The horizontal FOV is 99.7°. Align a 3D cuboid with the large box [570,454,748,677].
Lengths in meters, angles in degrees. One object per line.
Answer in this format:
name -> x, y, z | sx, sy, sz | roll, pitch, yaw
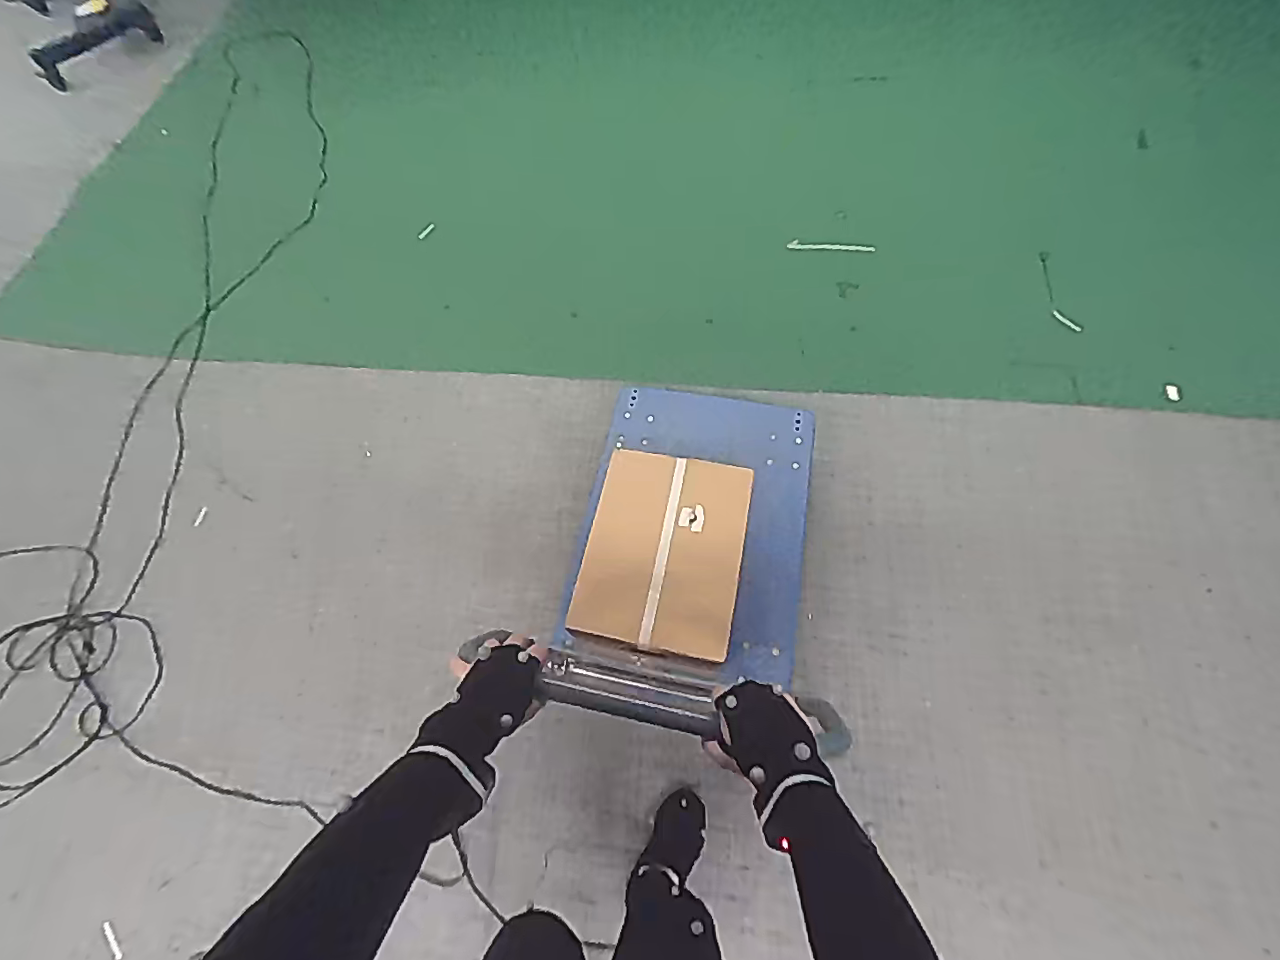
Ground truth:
large box -> 0.060, 0.205, 1.250 | 0.320, 0.320, 0.408 | 10, 64, 9
